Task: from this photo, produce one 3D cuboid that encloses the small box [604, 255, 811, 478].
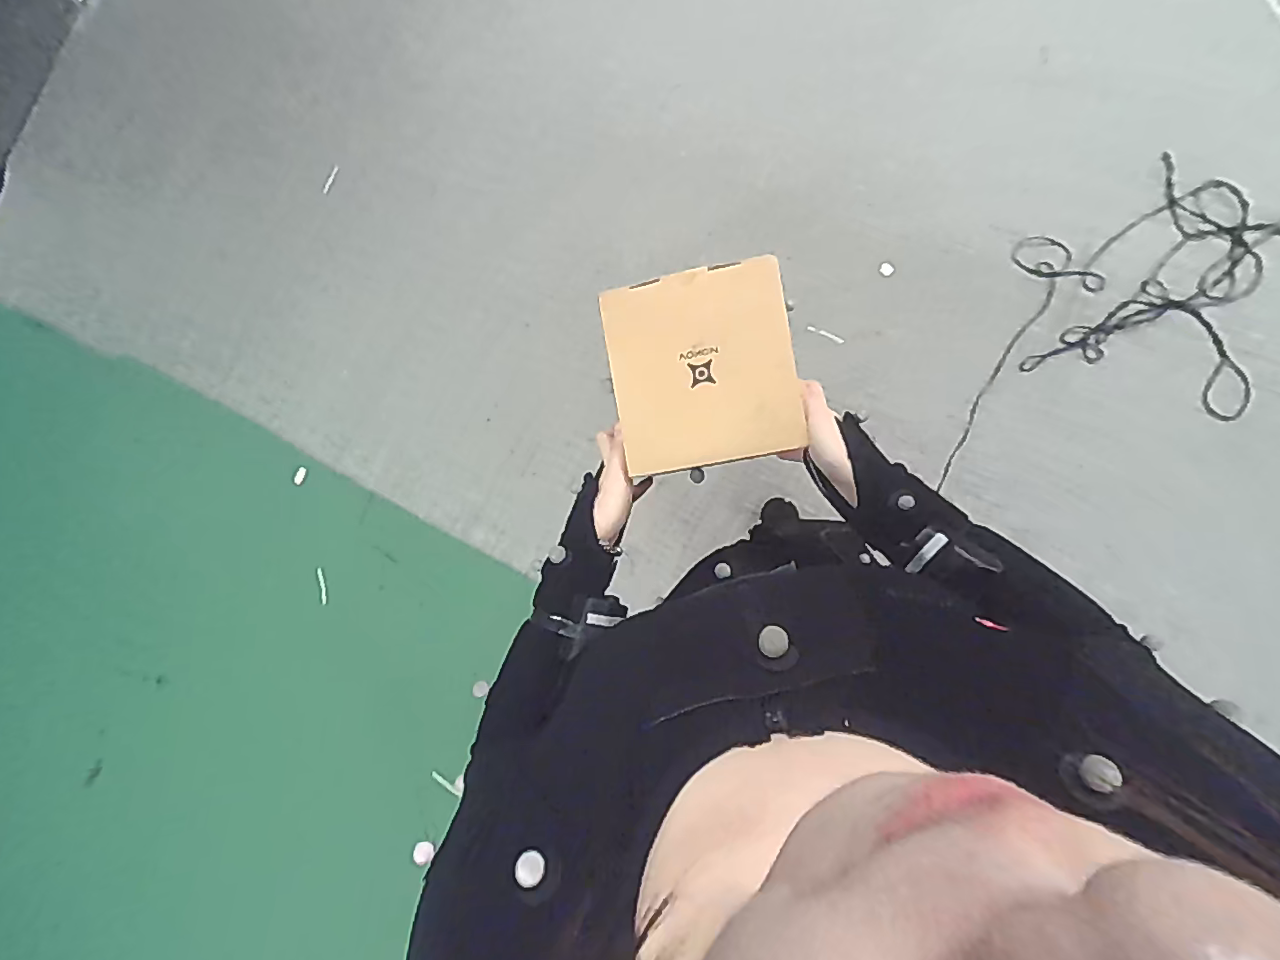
[{"bbox_3d":[0.071,-0.102,0.563,0.168,0.176,0.179,-10,90,8],"label":"small box"}]
